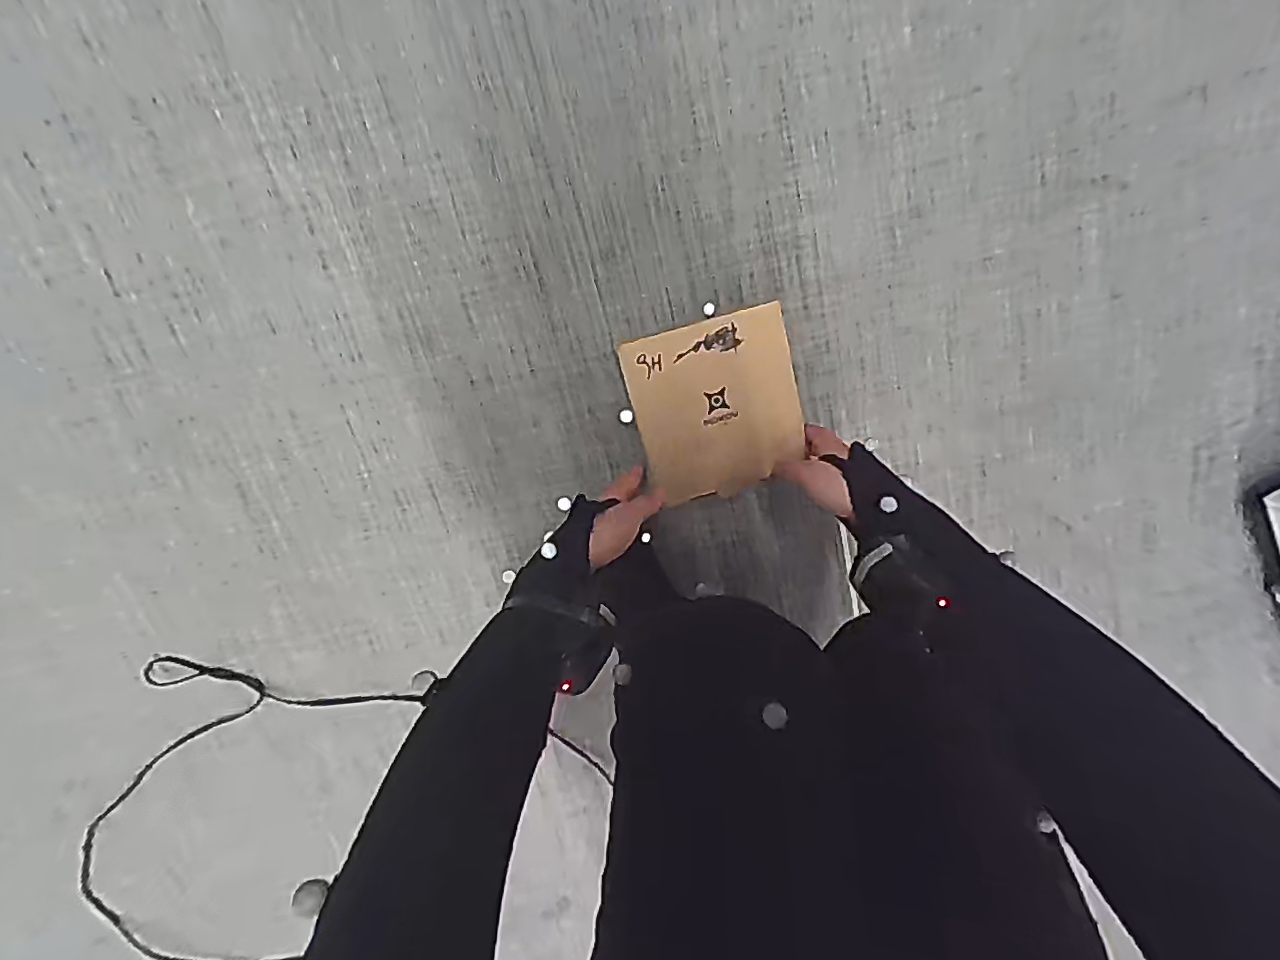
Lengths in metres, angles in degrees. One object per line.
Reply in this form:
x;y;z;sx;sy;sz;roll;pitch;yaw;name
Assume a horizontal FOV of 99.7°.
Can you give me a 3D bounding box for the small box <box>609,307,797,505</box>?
0.065;-0.094;0.628;0.168;0.176;0.179;-15;106;0;small box
